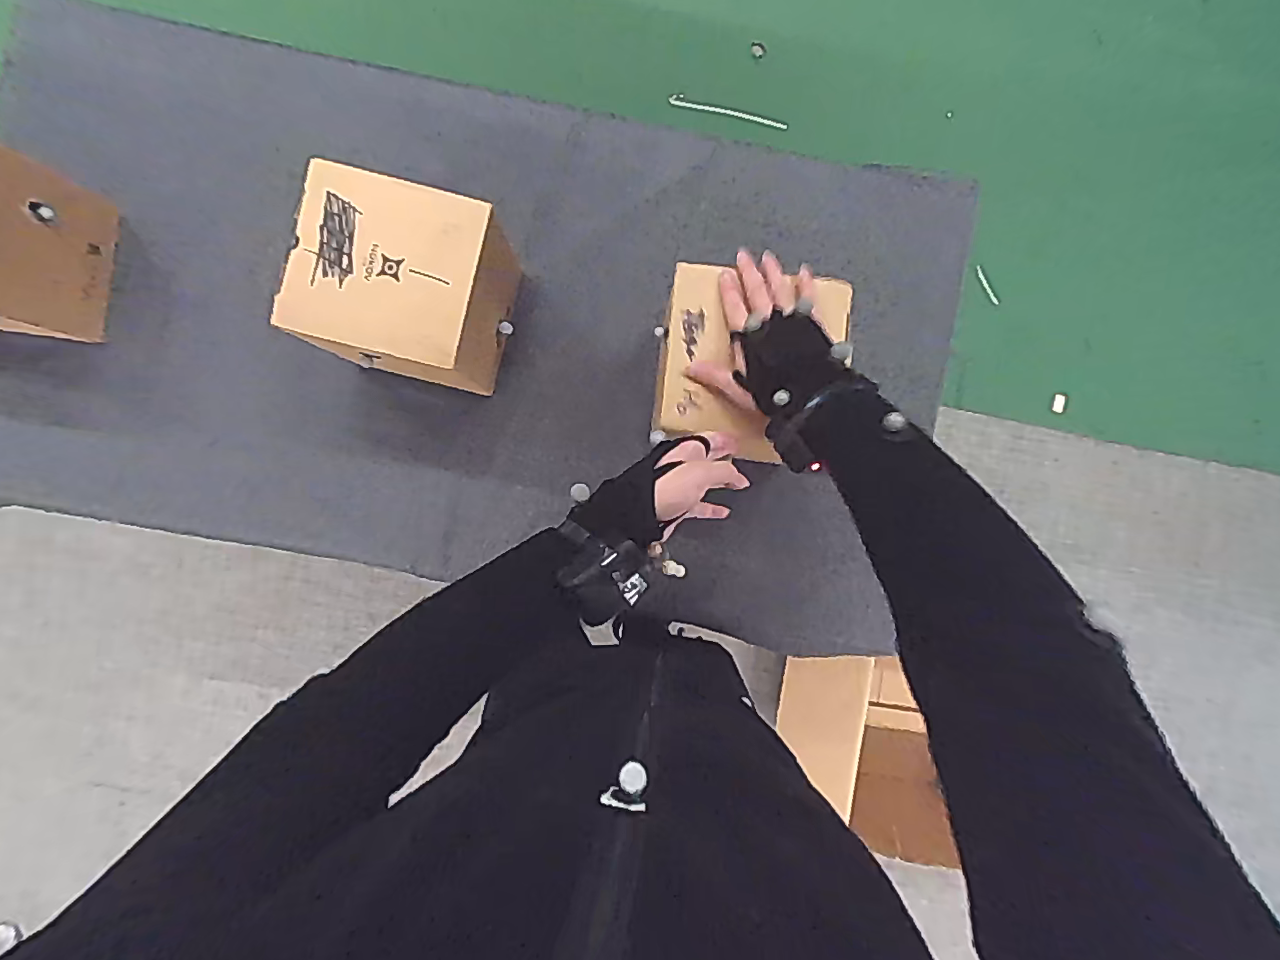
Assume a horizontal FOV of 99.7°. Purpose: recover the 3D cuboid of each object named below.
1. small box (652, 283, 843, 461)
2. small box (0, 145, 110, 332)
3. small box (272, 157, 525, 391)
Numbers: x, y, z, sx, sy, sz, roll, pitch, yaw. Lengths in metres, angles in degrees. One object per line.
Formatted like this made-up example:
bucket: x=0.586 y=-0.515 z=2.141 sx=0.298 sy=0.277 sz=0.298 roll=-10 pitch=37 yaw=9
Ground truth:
small box: x=0.111 y=-0.112 z=0.627 sx=0.179 sy=0.176 sz=0.168 roll=5 pitch=92 yaw=-1
small box: x=-0.716 y=-0.262 z=0.560 sx=0.179 sy=0.176 sz=0.168 roll=7 pitch=89 yaw=-2
small box: x=-0.244 y=-0.205 z=0.591 sx=0.179 sy=0.176 sz=0.168 roll=17 pitch=91 yaw=-2
